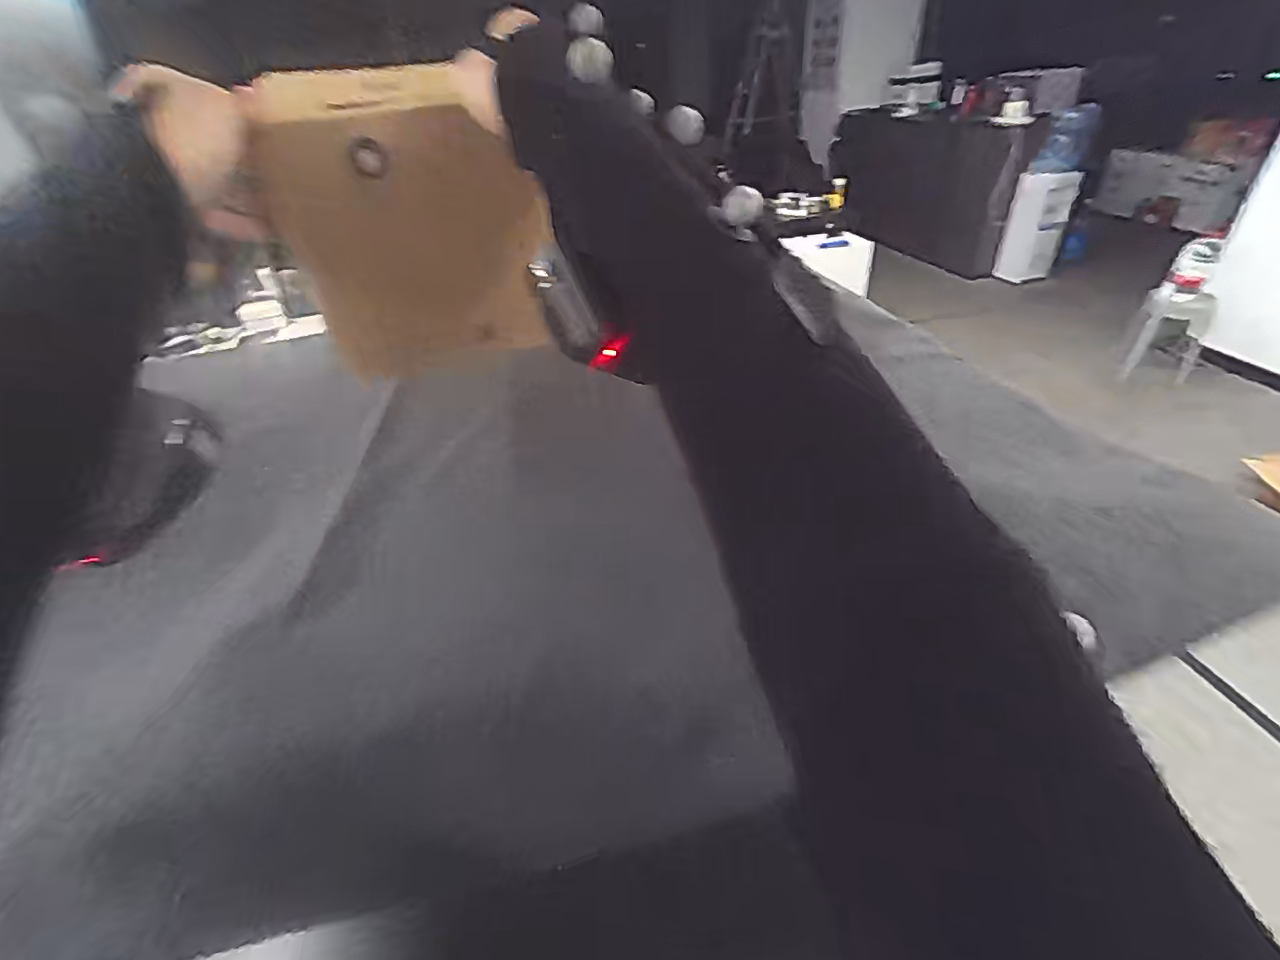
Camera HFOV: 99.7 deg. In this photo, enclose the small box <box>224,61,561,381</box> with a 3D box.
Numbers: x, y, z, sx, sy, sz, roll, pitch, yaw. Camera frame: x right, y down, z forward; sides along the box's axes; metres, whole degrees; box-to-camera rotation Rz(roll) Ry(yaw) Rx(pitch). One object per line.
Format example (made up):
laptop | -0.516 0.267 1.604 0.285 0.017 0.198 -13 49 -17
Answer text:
small box | -0.167 -0.201 0.413 0.168 0.176 0.179 -16 46 -13
